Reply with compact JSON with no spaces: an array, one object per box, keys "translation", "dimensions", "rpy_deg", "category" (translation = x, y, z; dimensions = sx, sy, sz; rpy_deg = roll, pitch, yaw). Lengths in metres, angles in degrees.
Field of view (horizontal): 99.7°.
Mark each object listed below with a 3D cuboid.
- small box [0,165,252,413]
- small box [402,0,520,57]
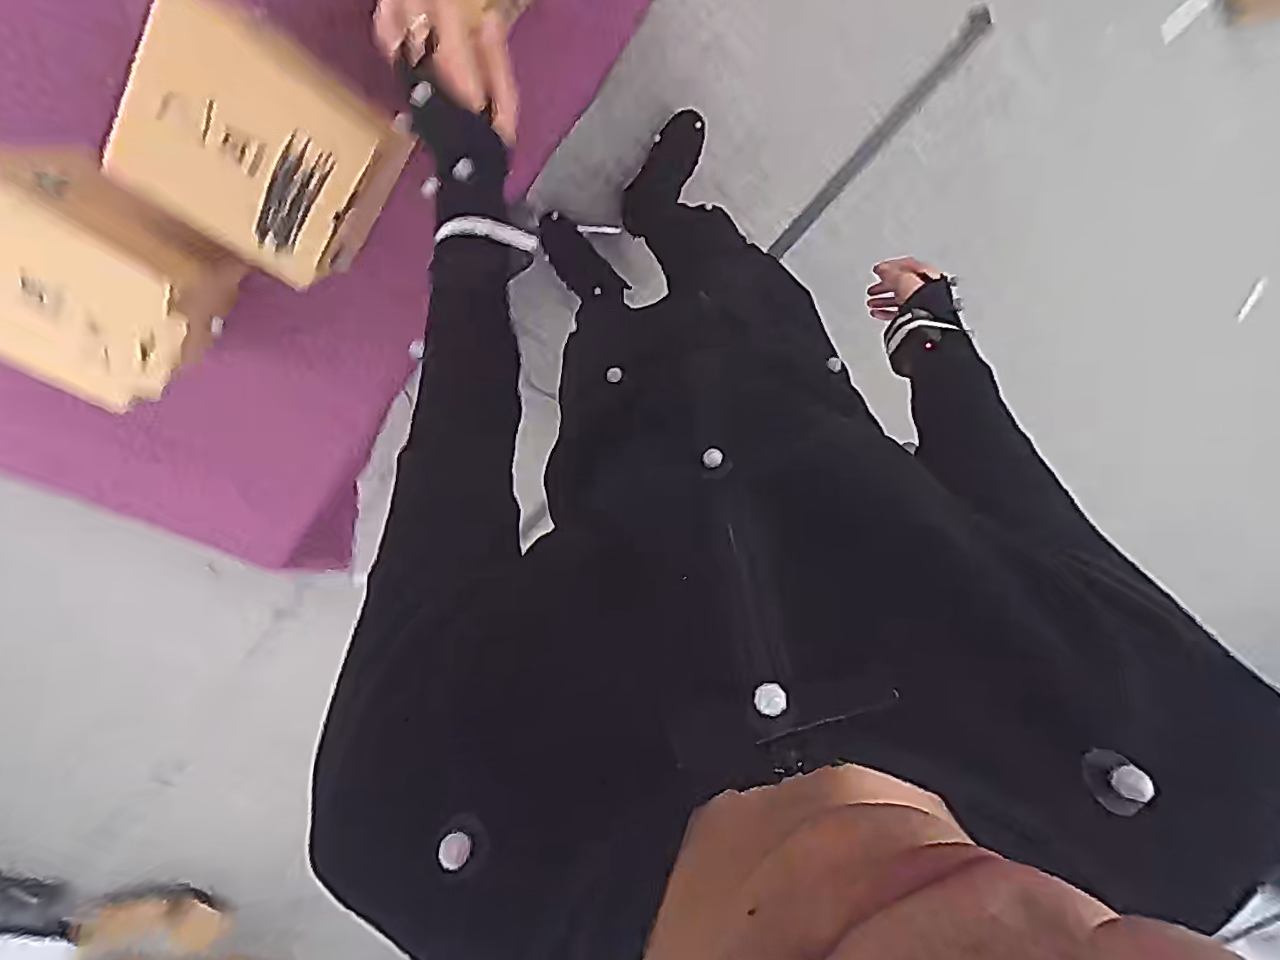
[{"translation":[-0.573,-0.209,0.581],"dimensions":[0.179,0.176,0.168],"rpy_deg":[32,112,-26],"category":"small box"},{"translation":[-0.178,-0.510,0.465],"dimensions":[0.179,0.176,0.168],"rpy_deg":[30,113,-26],"category":"small box"}]
